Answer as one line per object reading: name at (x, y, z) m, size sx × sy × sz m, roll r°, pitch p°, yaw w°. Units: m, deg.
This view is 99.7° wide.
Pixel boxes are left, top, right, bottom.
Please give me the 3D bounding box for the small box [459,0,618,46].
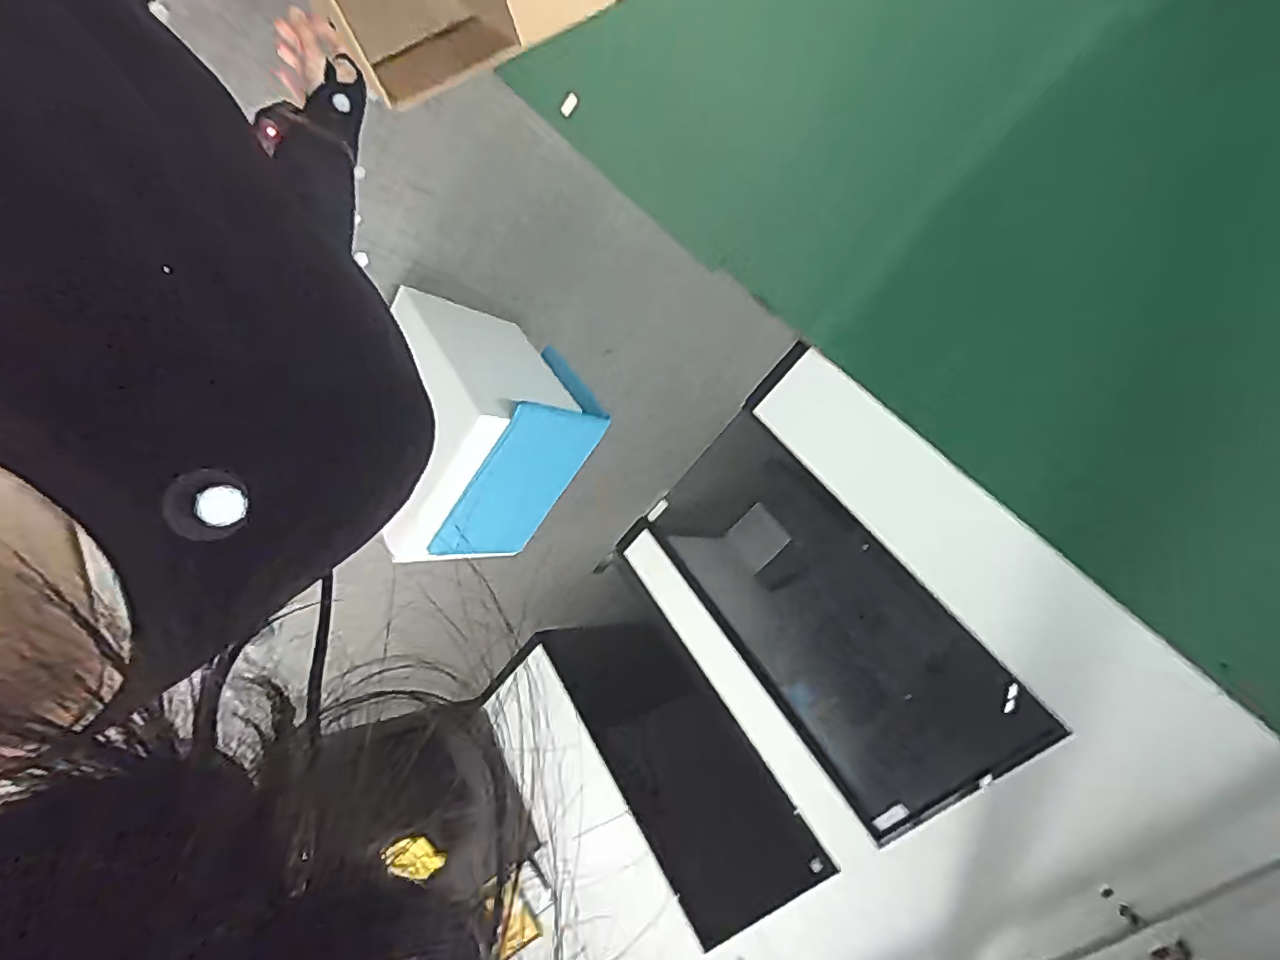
small box at (-0.098, -0.519, 0.456) m, size 0.168 × 0.176 × 0.179 m, roll -33°, pitch 148°, yaw -8°
